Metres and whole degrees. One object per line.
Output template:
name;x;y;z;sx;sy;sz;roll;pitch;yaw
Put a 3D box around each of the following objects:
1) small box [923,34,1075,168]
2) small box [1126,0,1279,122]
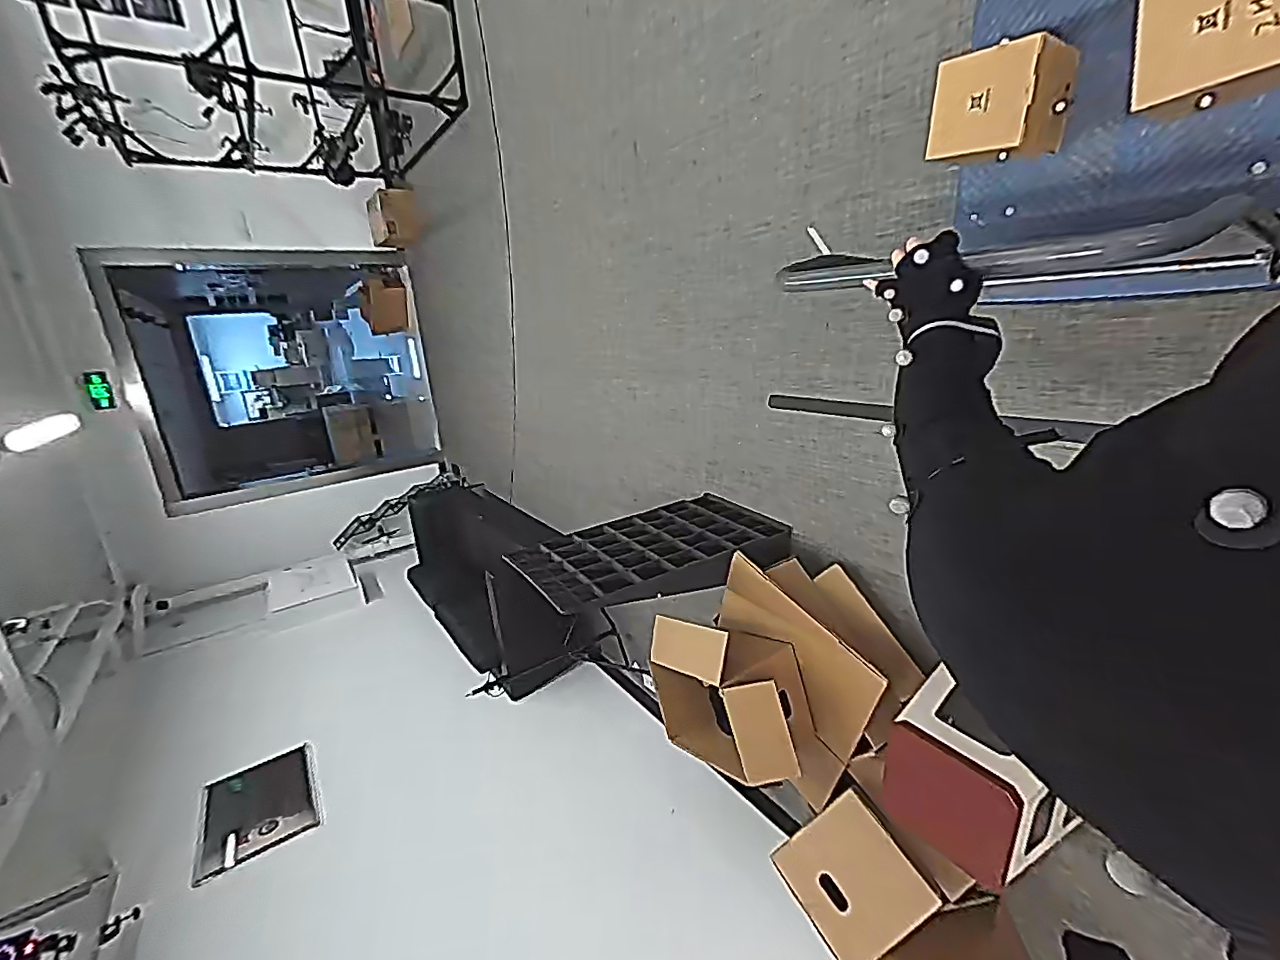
small box;0.684;-0.709;1.036;0.179;0.176;0.168;25;123;48
small box;0.859;-0.651;0.790;0.179;0.176;0.168;13;114;55
